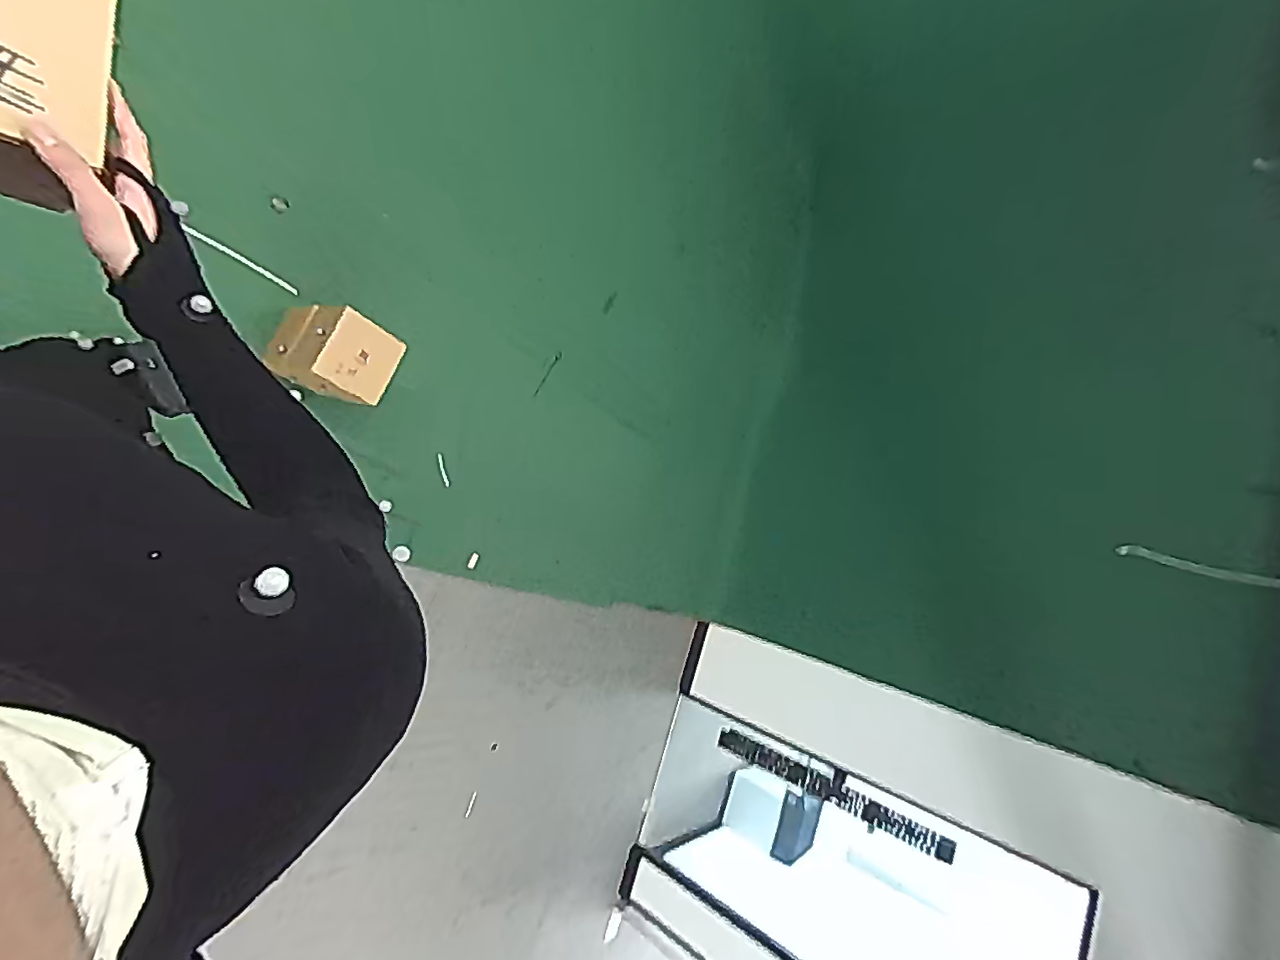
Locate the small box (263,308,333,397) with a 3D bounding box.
[{"bbox_3d":[-0.853,-0.335,1.428,0.168,0.176,0.179,34,73,-51],"label":"small box"}]

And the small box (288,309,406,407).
[{"bbox_3d":[-0.724,-0.302,1.331,0.168,0.176,0.179,37,71,-50],"label":"small box"}]
